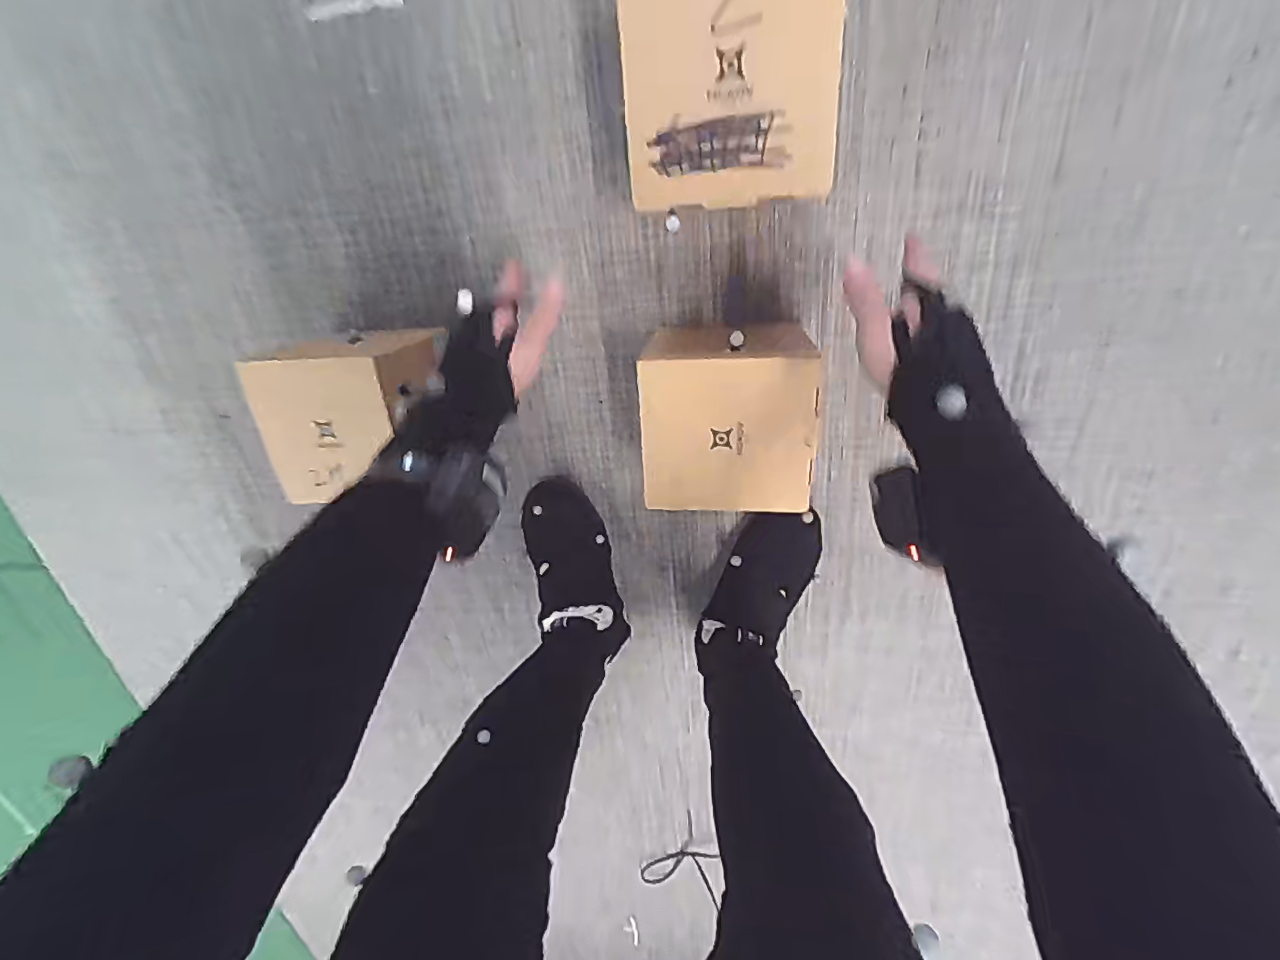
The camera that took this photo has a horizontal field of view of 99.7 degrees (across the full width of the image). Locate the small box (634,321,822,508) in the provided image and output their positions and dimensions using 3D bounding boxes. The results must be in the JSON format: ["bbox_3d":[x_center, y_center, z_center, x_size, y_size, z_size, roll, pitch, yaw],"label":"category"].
[{"bbox_3d":[0.096,-0.080,0.607,0.179,0.176,0.168,0,116,8],"label":"small box"}]
